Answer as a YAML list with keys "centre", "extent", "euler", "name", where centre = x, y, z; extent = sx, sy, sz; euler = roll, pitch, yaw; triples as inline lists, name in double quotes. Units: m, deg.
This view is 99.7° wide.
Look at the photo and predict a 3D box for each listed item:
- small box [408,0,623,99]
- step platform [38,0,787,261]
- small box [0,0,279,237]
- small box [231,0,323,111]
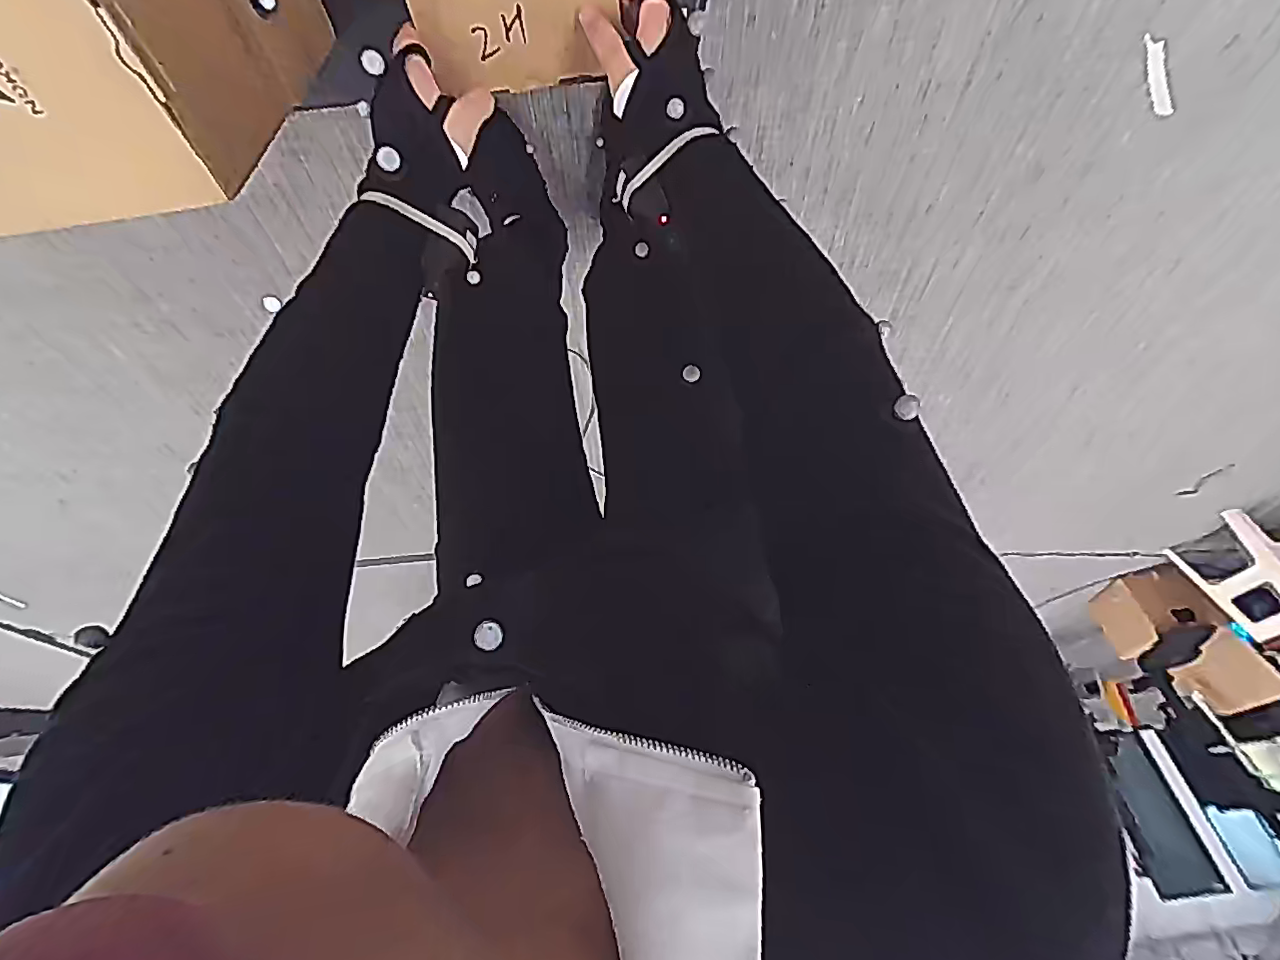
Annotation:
- centre: [-0.110, -0.460, 0.456]
  extent: [0.168, 0.176, 0.179]
  euler: [-7, 143, 2]
  name: "small box"
- centre: [-0.234, -0.396, 0.467]
  extent: [0.684, 0.204, 0.286]
  euler: [-7, 144, -2]
  name: "step platform"
- centre: [-0.380, -0.295, 0.361]
  extent: [0.179, 0.176, 0.168]
  euler: [-8, 144, 1]
  name: "small box"
- centre: [-0.398, -0.427, 0.455]
  extent: [0.179, 0.176, 0.168]
  euler: [-7, 145, 0]
  name: "small box"
